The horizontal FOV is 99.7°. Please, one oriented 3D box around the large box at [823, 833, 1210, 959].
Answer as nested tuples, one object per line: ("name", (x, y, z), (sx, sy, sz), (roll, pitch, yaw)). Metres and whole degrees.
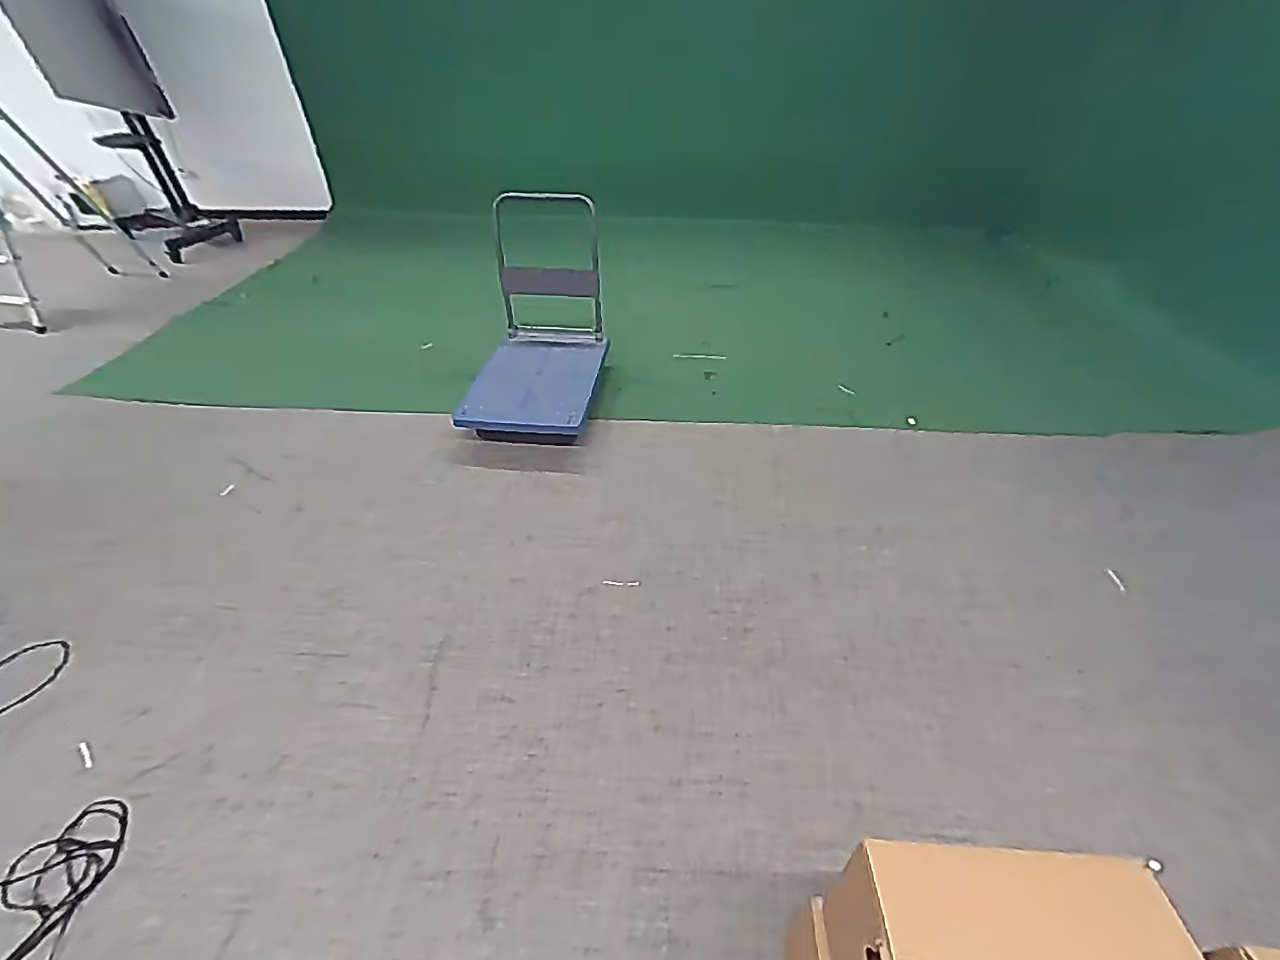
("large box", (0.517, 0.740, 0.756), (0.408, 0.320, 0.320), (3, 37, 3))
